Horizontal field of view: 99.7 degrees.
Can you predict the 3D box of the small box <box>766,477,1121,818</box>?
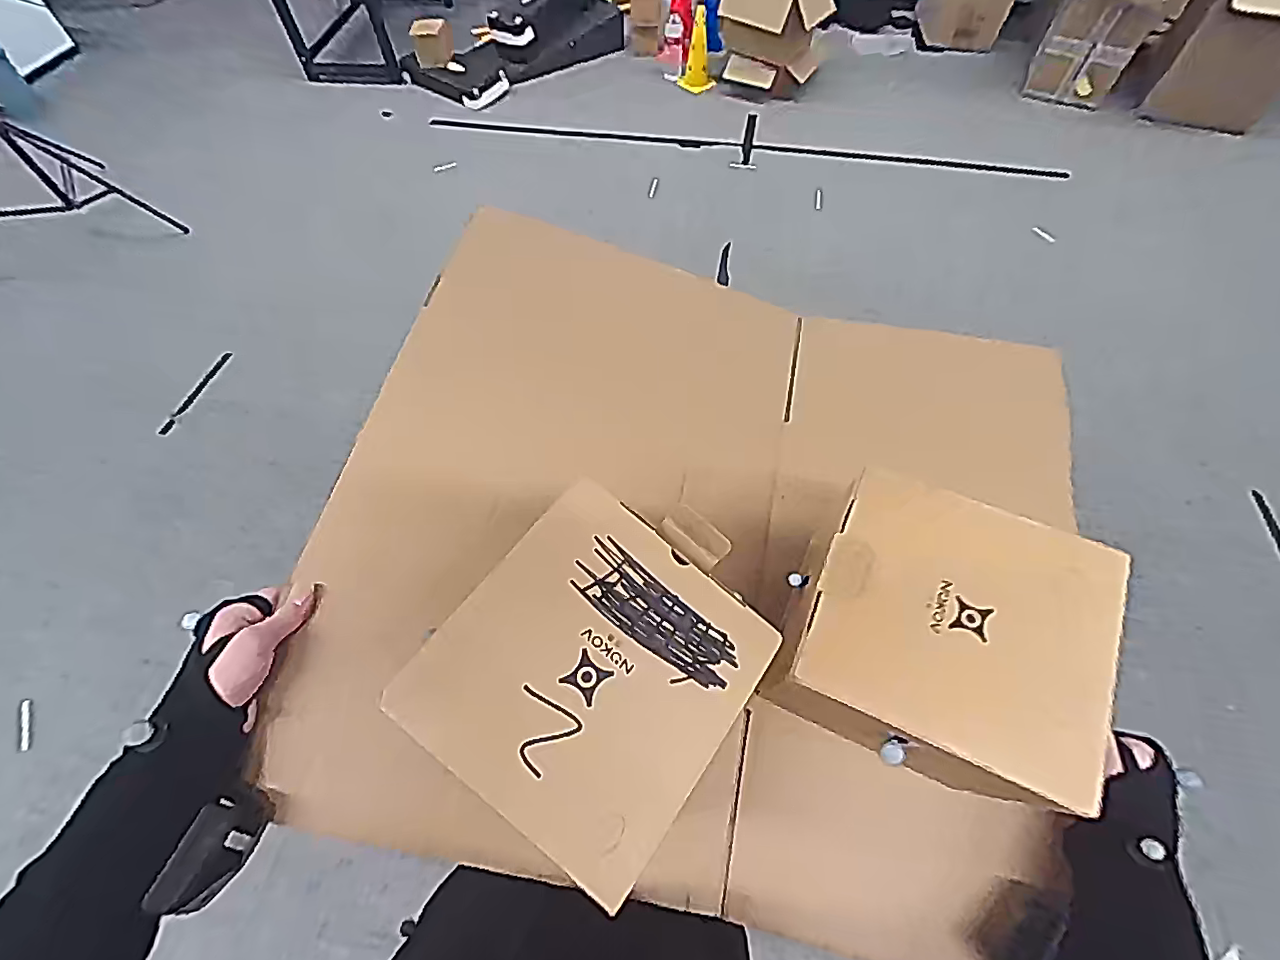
[{"bbox_3d":[0.216,0.127,0.426,0.179,0.176,0.168,21,69,15],"label":"small box"}]
